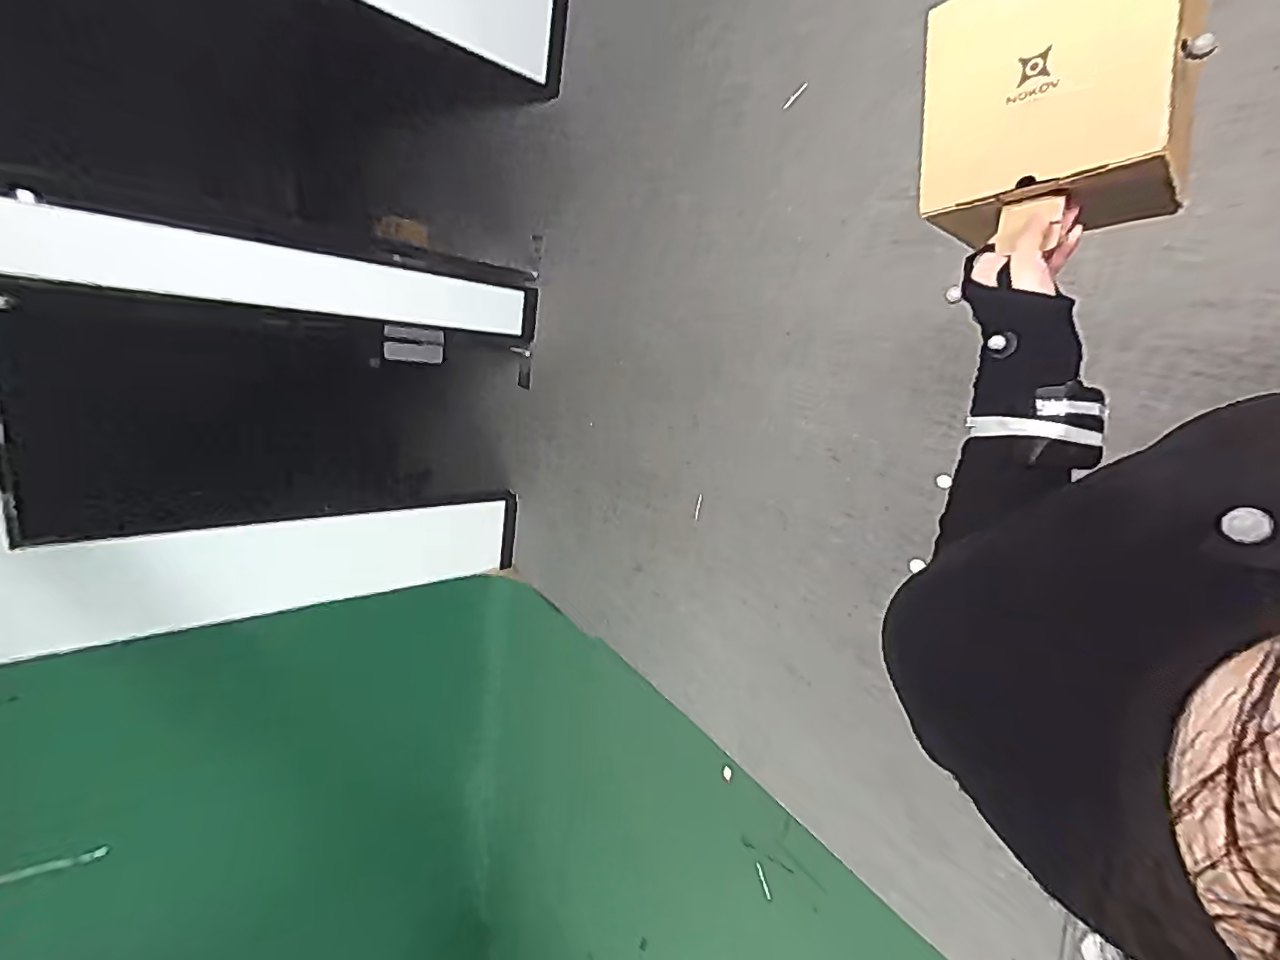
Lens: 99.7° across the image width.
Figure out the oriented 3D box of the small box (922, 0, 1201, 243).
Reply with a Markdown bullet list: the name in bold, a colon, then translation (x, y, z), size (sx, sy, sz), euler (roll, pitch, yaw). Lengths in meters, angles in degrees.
- **small box**: translation (0.373, -0.332, 0.482), size (0.168, 0.176, 0.179), euler (8, 102, 47)
